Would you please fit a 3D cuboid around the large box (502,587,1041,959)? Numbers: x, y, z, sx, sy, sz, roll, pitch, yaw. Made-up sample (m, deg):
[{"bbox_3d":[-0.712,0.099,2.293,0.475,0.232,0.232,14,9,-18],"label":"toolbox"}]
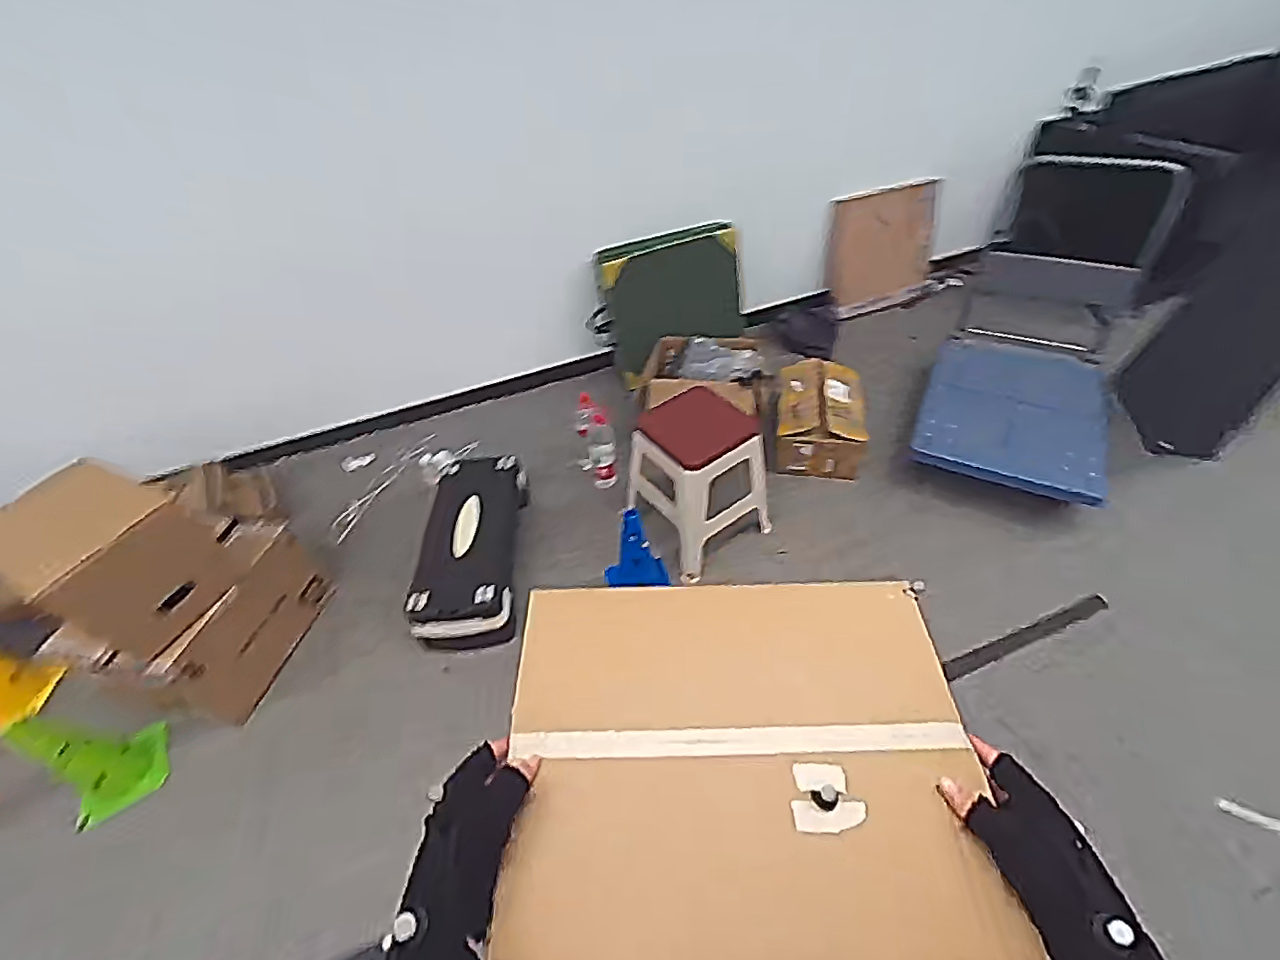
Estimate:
[{"bbox_3d":[0.096,0.334,0.601,0.408,0.320,0.320,-1,50,1],"label":"large box"}]
